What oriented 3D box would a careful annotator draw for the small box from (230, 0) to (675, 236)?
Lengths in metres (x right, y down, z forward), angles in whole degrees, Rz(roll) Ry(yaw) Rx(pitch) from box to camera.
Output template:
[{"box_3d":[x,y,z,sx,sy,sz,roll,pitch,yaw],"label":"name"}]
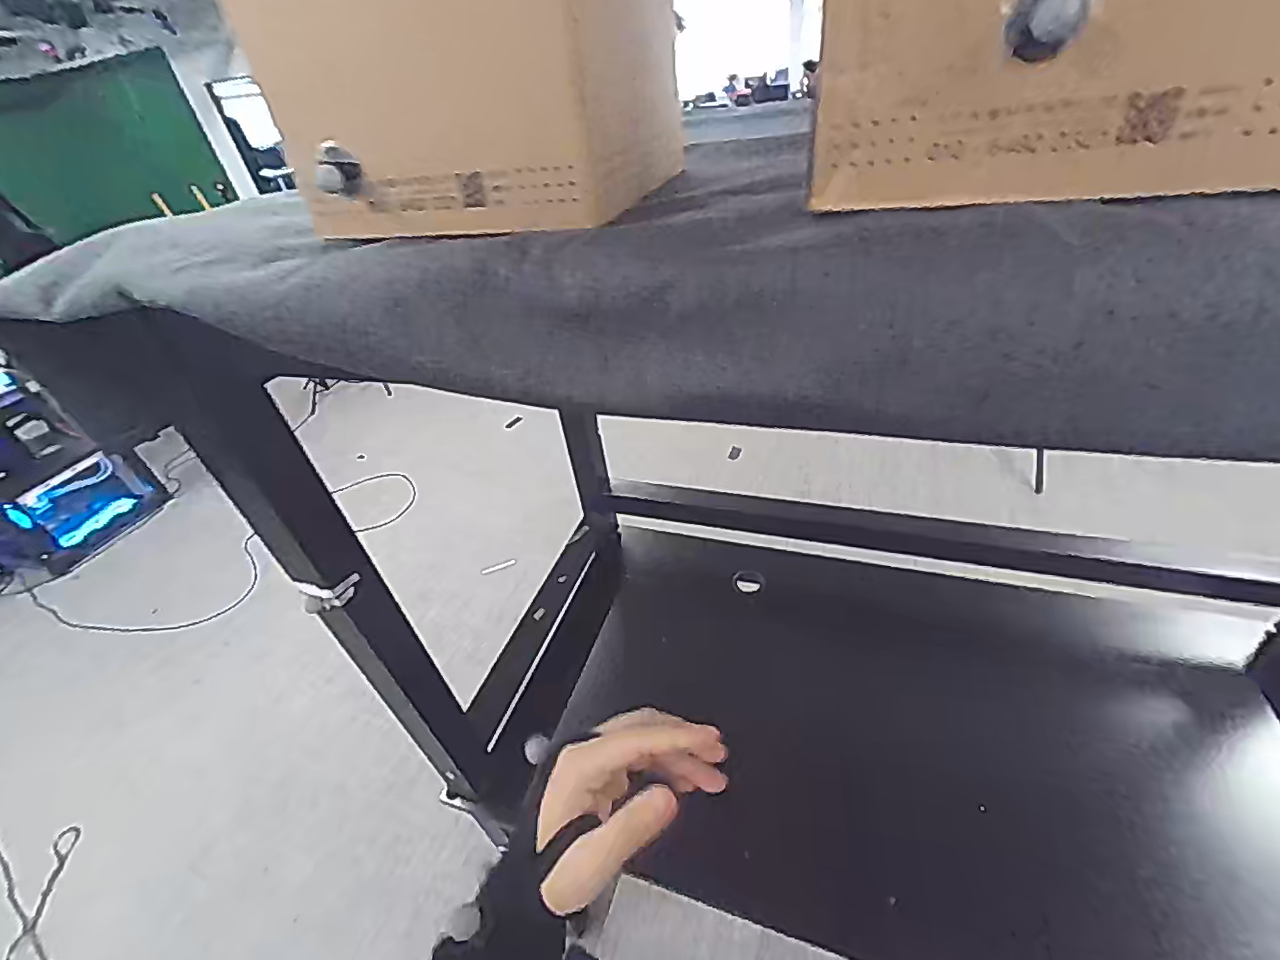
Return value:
[{"box_3d":[-0.080,-0.235,0.288,0.168,0.176,0.179,6,37,17],"label":"small box"}]
